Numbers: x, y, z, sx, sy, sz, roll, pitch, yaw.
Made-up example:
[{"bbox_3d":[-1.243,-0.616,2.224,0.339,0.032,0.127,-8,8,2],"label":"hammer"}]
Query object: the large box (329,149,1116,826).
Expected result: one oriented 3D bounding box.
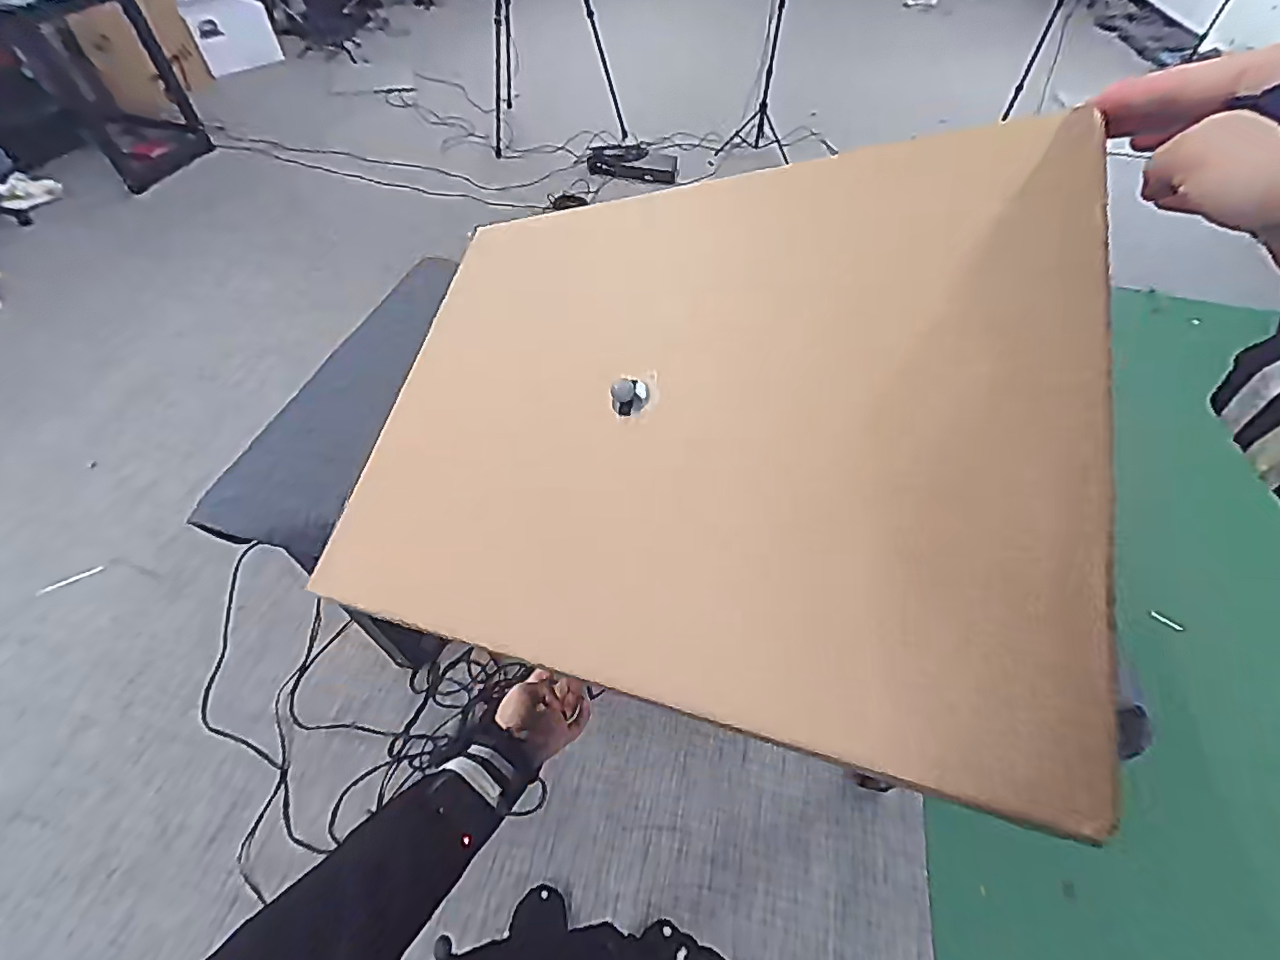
[{"bbox_3d":[0.064,0.020,0.427,0.408,0.320,0.320,4,67,27],"label":"large box"}]
